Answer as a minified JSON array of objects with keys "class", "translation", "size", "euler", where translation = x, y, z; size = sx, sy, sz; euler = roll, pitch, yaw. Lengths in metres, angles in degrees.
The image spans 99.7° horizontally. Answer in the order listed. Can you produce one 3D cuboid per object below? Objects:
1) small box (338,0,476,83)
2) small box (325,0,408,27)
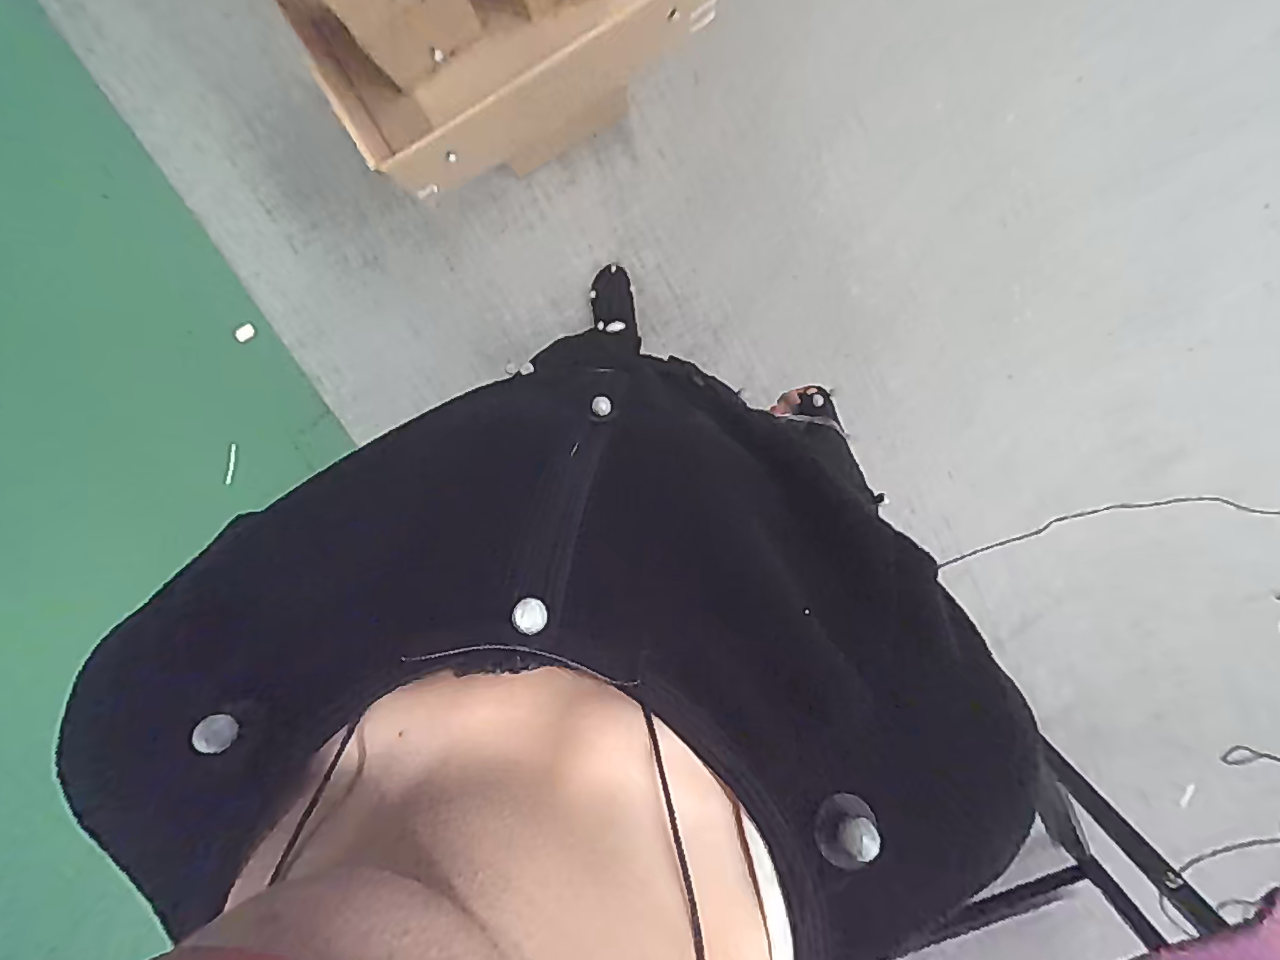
[{"class":"small box","translation":[-0.372,-0.744,0.794],"size":[0.168,0.176,0.179],"euler":[-31,104,8]},{"class":"small box","translation":[-0.355,-0.692,0.638],"size":[0.168,0.176,0.179],"euler":[-31,104,7]}]
